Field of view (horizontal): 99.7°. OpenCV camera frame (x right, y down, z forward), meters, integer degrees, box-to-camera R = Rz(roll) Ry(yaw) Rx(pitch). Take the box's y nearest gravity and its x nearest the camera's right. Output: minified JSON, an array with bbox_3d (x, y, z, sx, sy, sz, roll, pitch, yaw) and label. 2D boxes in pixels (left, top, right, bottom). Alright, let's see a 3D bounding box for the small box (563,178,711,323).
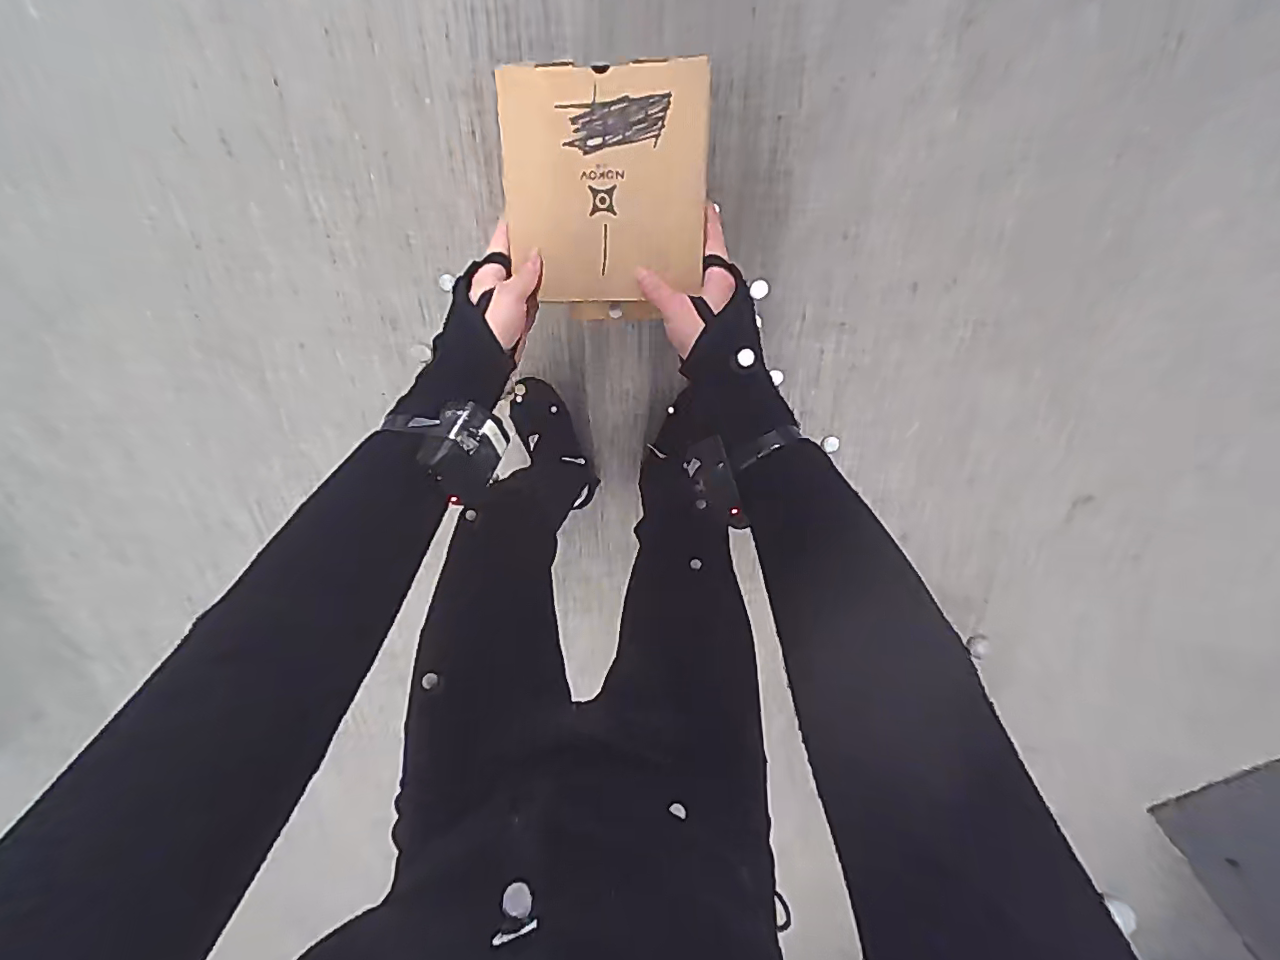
[{"bbox_3d":[-0.003,-0.312,0.737,0.179,0.176,0.168,0,117,0],"label":"small box"}]
